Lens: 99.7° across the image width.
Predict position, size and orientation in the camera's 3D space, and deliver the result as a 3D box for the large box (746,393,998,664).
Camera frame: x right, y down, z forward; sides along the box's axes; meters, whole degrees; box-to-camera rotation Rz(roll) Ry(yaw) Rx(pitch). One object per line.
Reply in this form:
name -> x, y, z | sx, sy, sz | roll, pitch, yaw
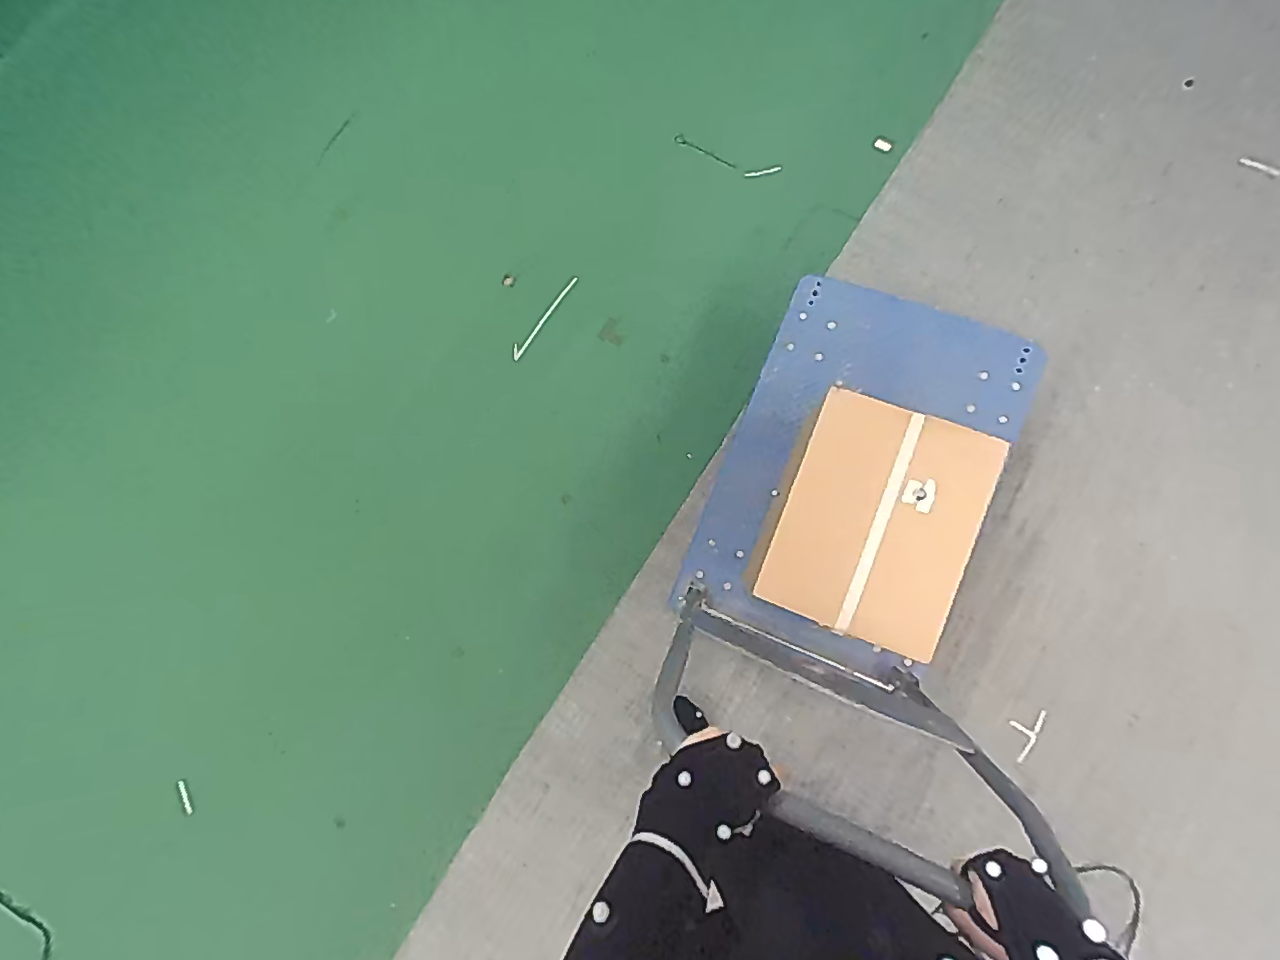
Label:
large box -> 0.427, 0.093, 1.089 | 0.320, 0.320, 0.408 | 21, 88, 9
